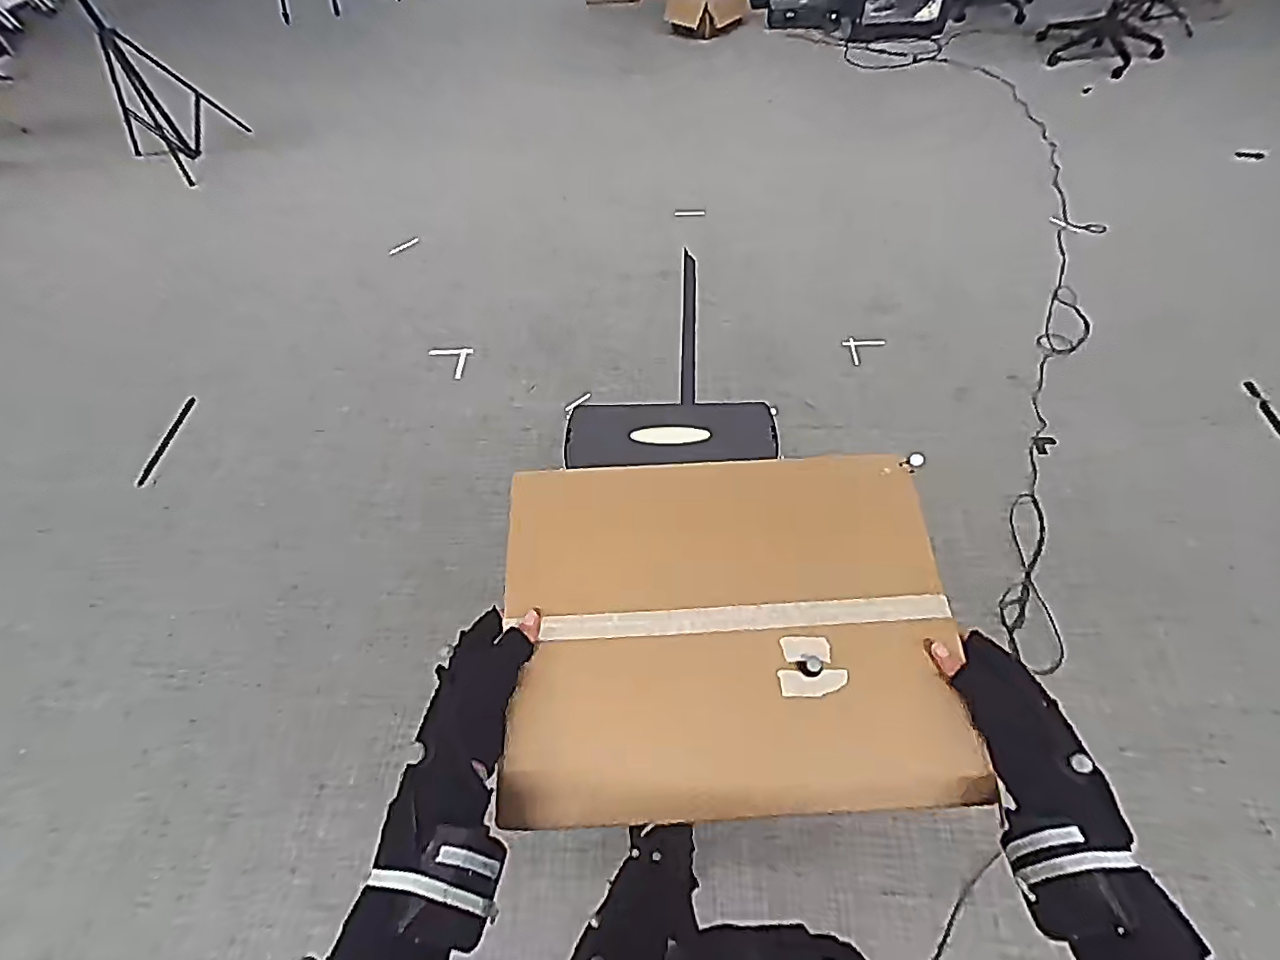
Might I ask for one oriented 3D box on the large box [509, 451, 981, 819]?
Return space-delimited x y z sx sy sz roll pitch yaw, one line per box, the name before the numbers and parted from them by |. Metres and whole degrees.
large box | 0.078 0.182 0.640 0.408 0.320 0.320 -3 67 -1
